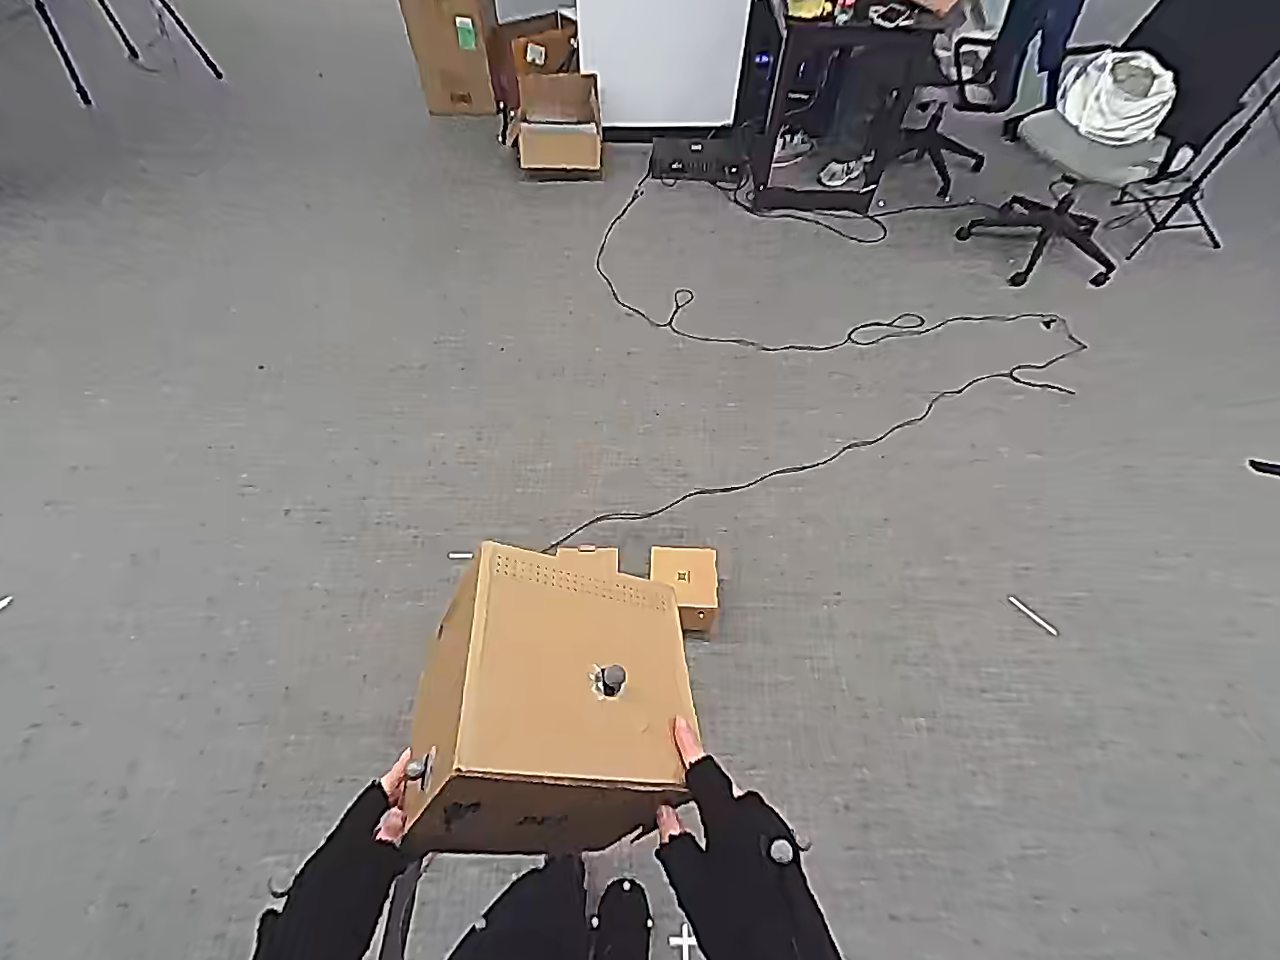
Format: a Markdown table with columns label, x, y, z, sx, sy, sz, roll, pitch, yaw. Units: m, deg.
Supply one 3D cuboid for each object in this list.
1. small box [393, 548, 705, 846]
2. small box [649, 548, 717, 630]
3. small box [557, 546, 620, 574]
| label | x | y | z | sx | sy | sz | roll | pitch | yaw |
| --- | --- | --- | --- | --- | --- | --- | --- | --- | --- |
| small box | -0.075 | 0.177 | 0.440 | 0.179 | 0.168 | 0.176 | 18 | 39 | -25 |
| small box | 0.111 | 0.298 | 1.462 | 0.179 | 0.176 | 0.168 | 4 | 56 | 0 |
| small box | -0.140 | 0.295 | 1.457 | 0.168 | 0.176 | 0.179 | 1 | 57 | 1 |
